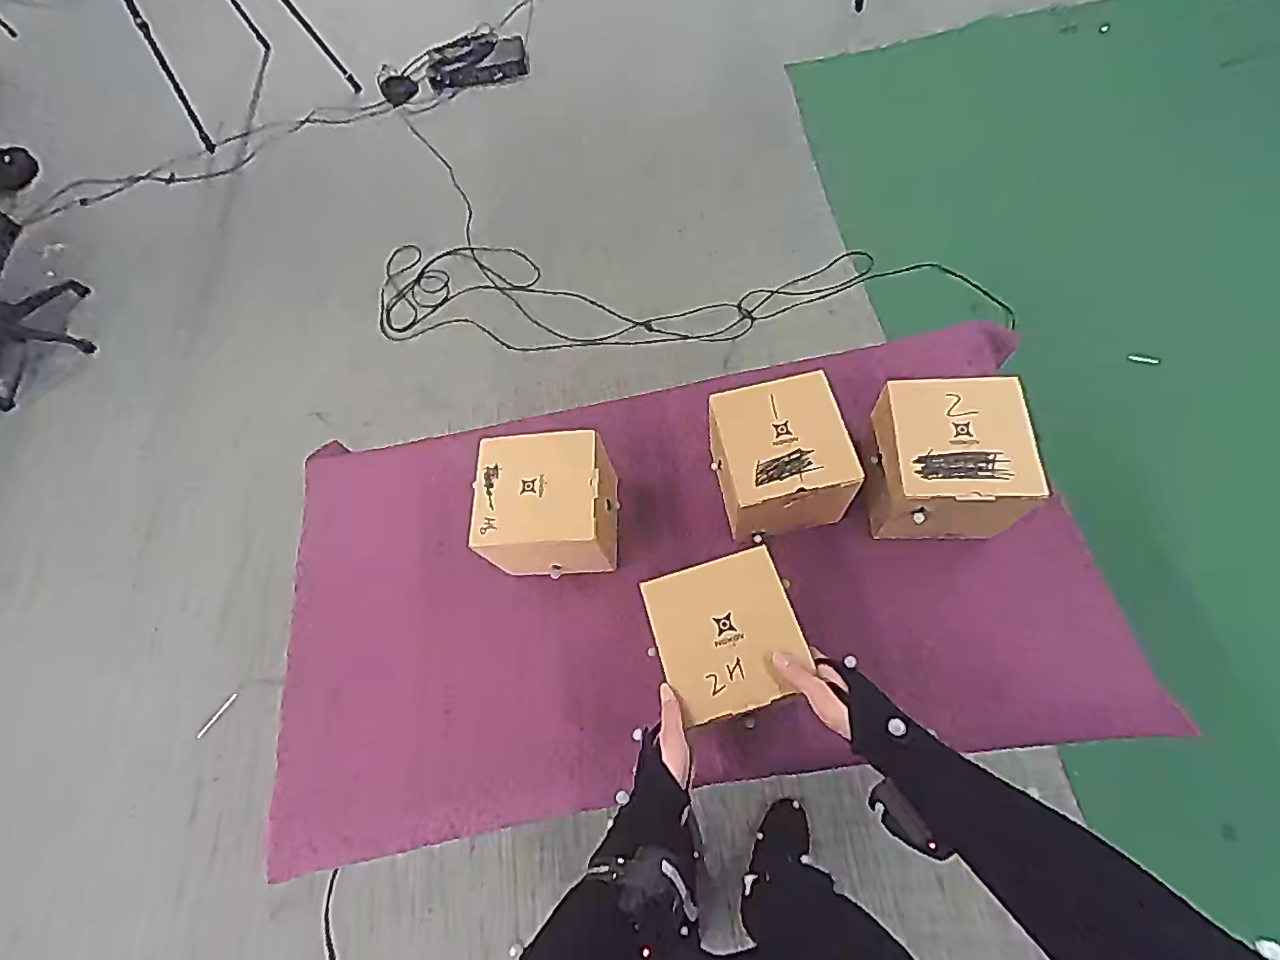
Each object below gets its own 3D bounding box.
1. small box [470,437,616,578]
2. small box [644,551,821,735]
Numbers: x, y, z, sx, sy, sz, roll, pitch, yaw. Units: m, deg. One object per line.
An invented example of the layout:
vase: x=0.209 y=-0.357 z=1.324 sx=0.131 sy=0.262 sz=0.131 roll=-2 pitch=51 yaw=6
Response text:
small box: x=-0.133 y=0.048 z=0.818 sx=0.179 sy=0.176 sz=0.168 roll=-3 pitch=66 yaw=7
small box: x=0.112 y=0.217 z=0.701 sx=0.168 sy=0.176 sz=0.179 roll=-17 pitch=63 yaw=1
